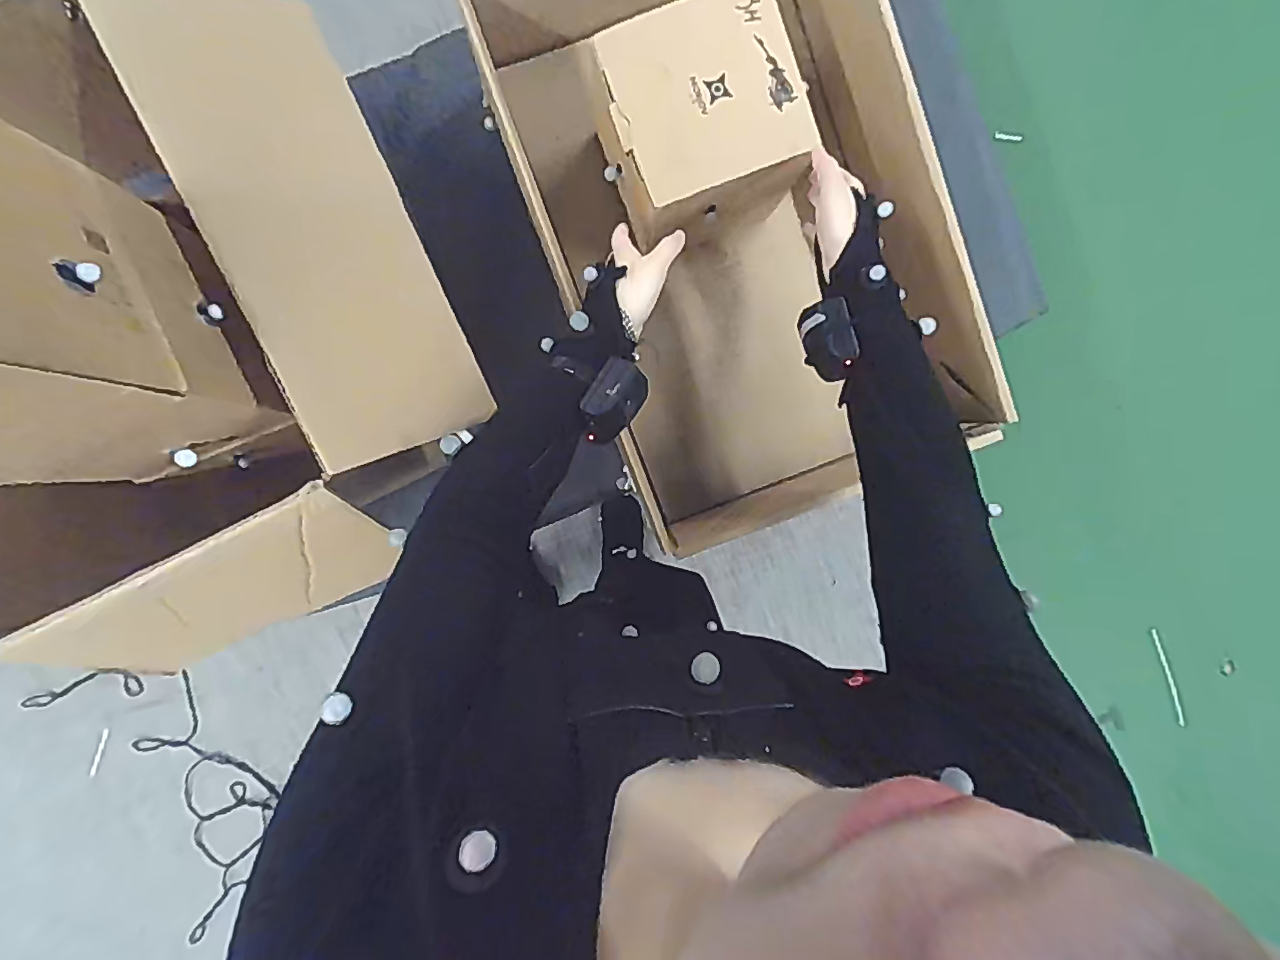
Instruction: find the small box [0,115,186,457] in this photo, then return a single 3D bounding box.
[{"bbox_3d":[-0.414,-0.104,0.289,0.179,0.176,0.168,-22,94,-6],"label":"small box"}]
